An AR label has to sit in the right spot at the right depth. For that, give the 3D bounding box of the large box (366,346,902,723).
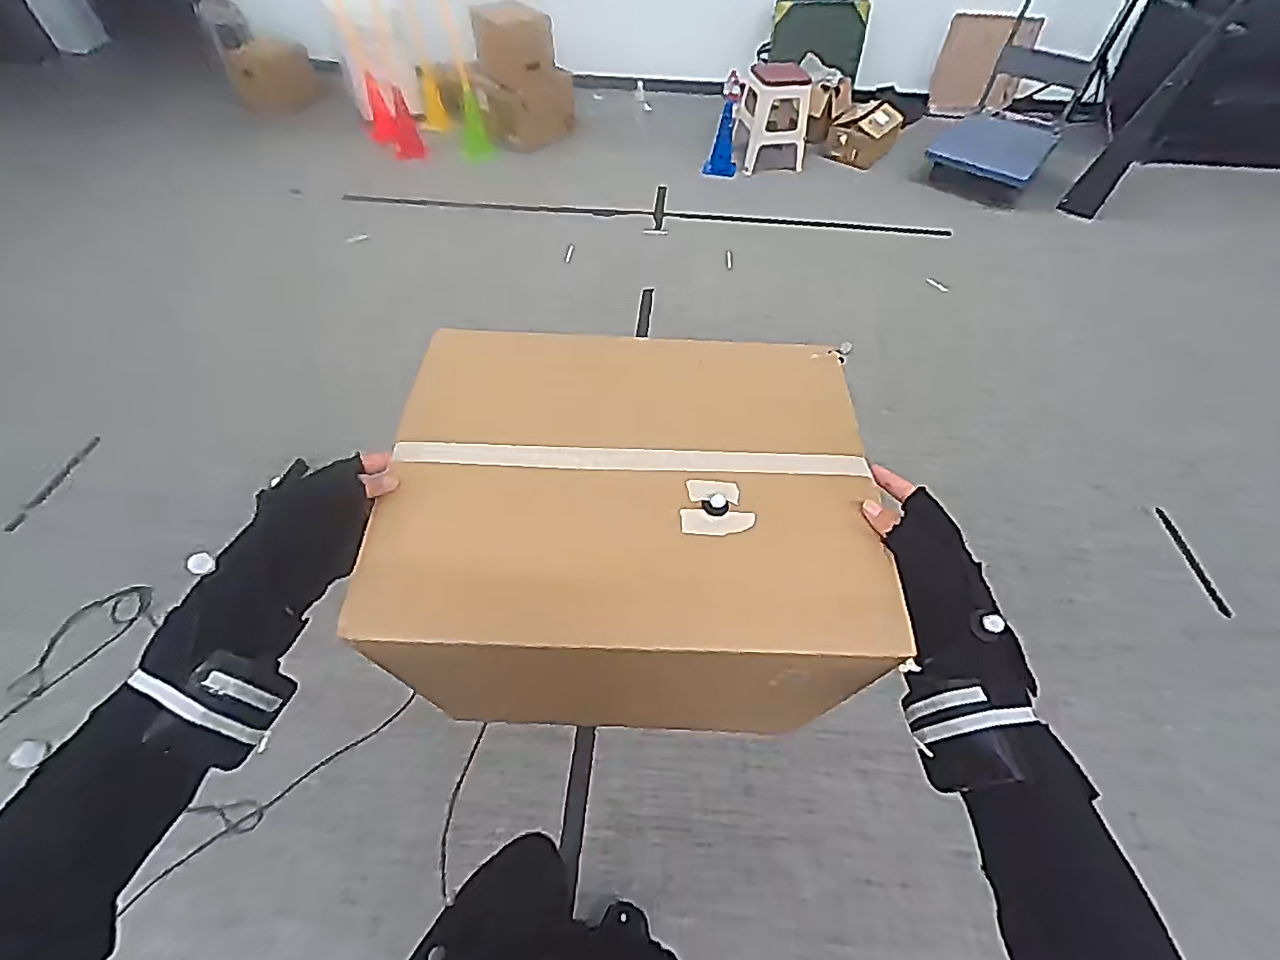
[{"bbox_3d":[-0.008,0.076,0.599,0.408,0.320,0.320,2,57,-1],"label":"large box"}]
